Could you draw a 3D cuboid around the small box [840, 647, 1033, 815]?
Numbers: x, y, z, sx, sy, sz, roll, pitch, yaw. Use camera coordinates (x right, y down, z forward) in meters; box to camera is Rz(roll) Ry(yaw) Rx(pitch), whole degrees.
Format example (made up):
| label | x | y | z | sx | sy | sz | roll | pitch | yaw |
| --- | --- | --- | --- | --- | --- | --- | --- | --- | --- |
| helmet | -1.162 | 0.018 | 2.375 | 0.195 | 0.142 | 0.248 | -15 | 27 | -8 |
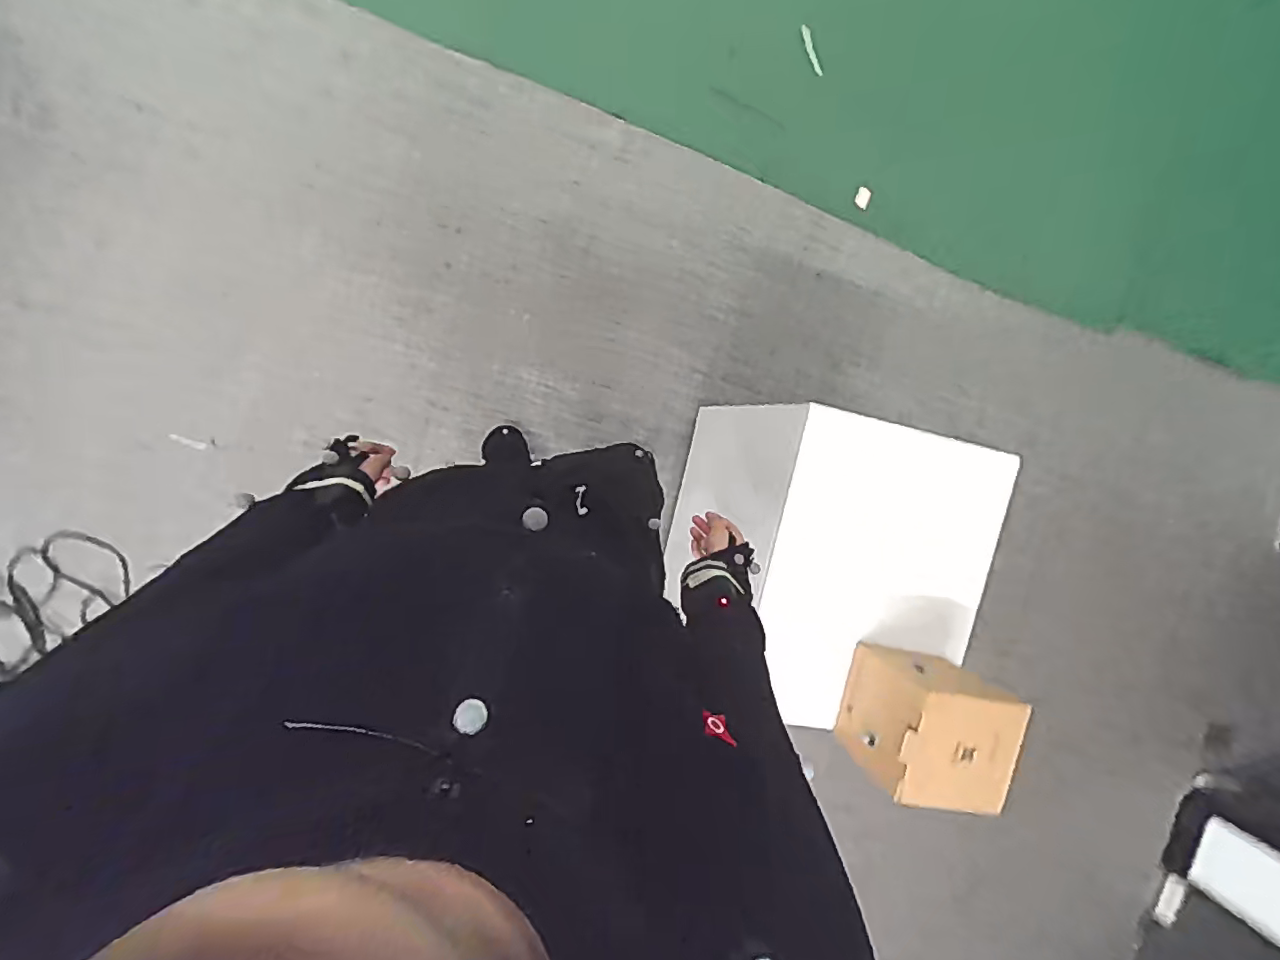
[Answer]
| label | x | y | z | sx | sy | sz | roll | pitch | yaw |
| --- | --- | --- | --- | --- | --- | --- | --- | --- | --- |
| small box | 0.437 | 0.371 | 0.825 | 0.179 | 0.176 | 0.168 | 12 | 95 | -13 |
